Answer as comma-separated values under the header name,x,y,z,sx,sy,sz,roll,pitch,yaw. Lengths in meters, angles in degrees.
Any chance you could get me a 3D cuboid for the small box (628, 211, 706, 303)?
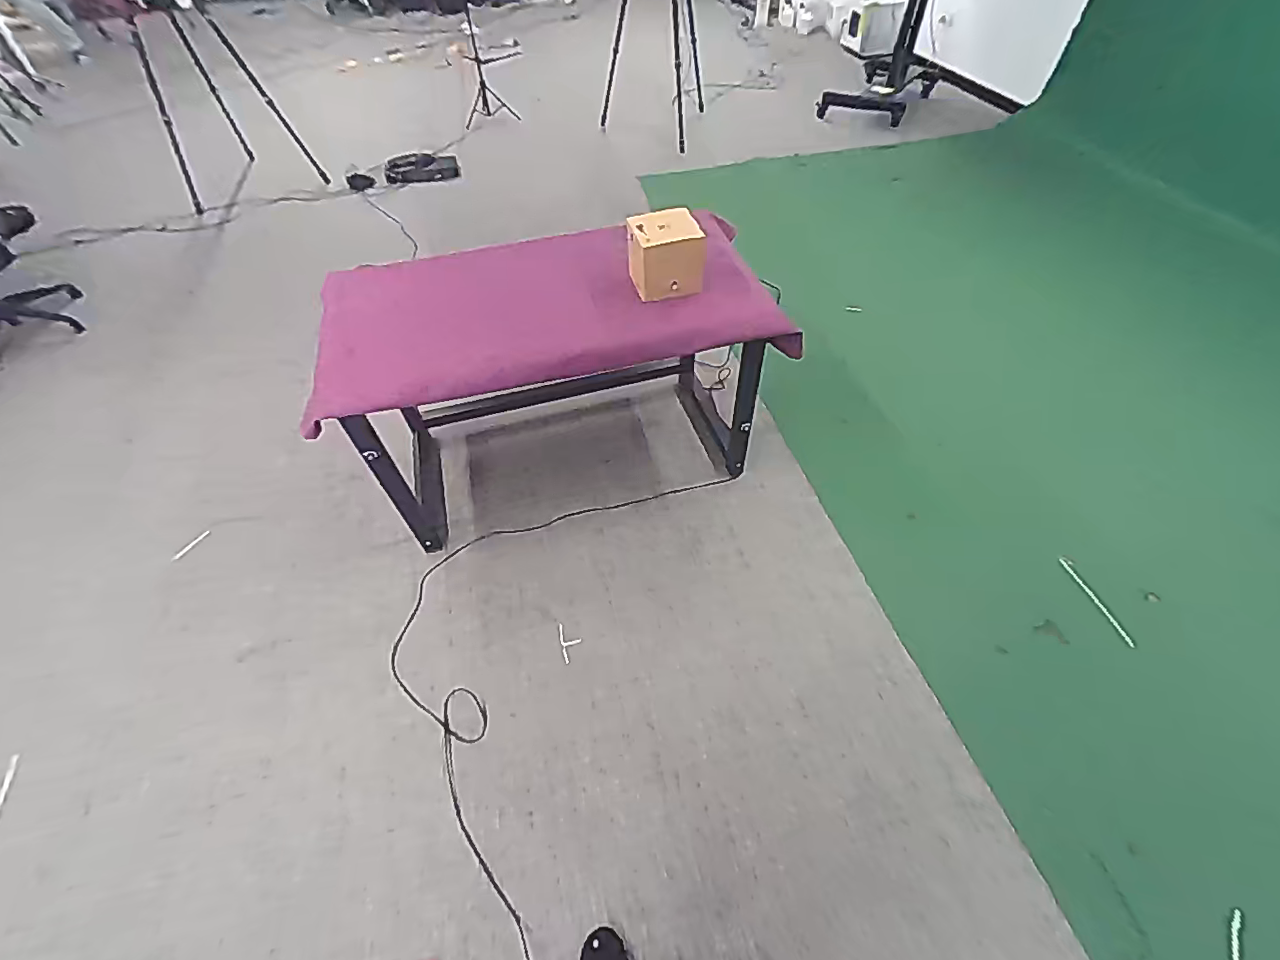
name,x,y,z,sx,sy,sz,roll,pitch,yaw
small box,0.070,-0.618,1.506,0.179,0.176,0.168,-13,52,-9
